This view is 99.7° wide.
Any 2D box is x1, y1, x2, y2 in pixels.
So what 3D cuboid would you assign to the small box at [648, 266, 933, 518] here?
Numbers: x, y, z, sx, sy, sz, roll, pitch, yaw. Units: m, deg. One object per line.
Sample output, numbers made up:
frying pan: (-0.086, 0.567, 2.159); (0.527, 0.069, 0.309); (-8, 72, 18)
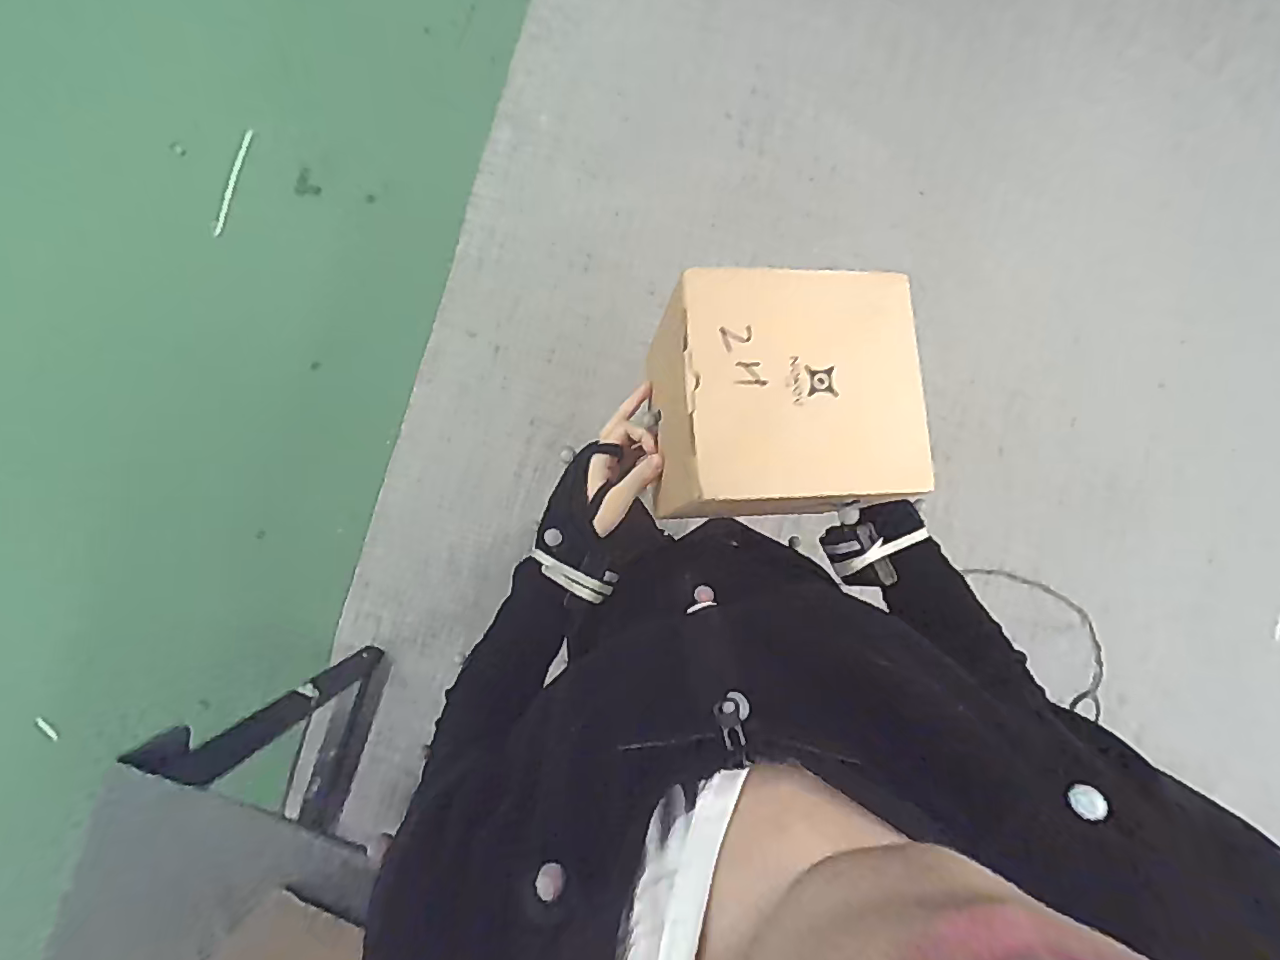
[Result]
small box: (0.110, -0.058, 0.463); (0.179, 0.176, 0.168); (0, 80, -10)
